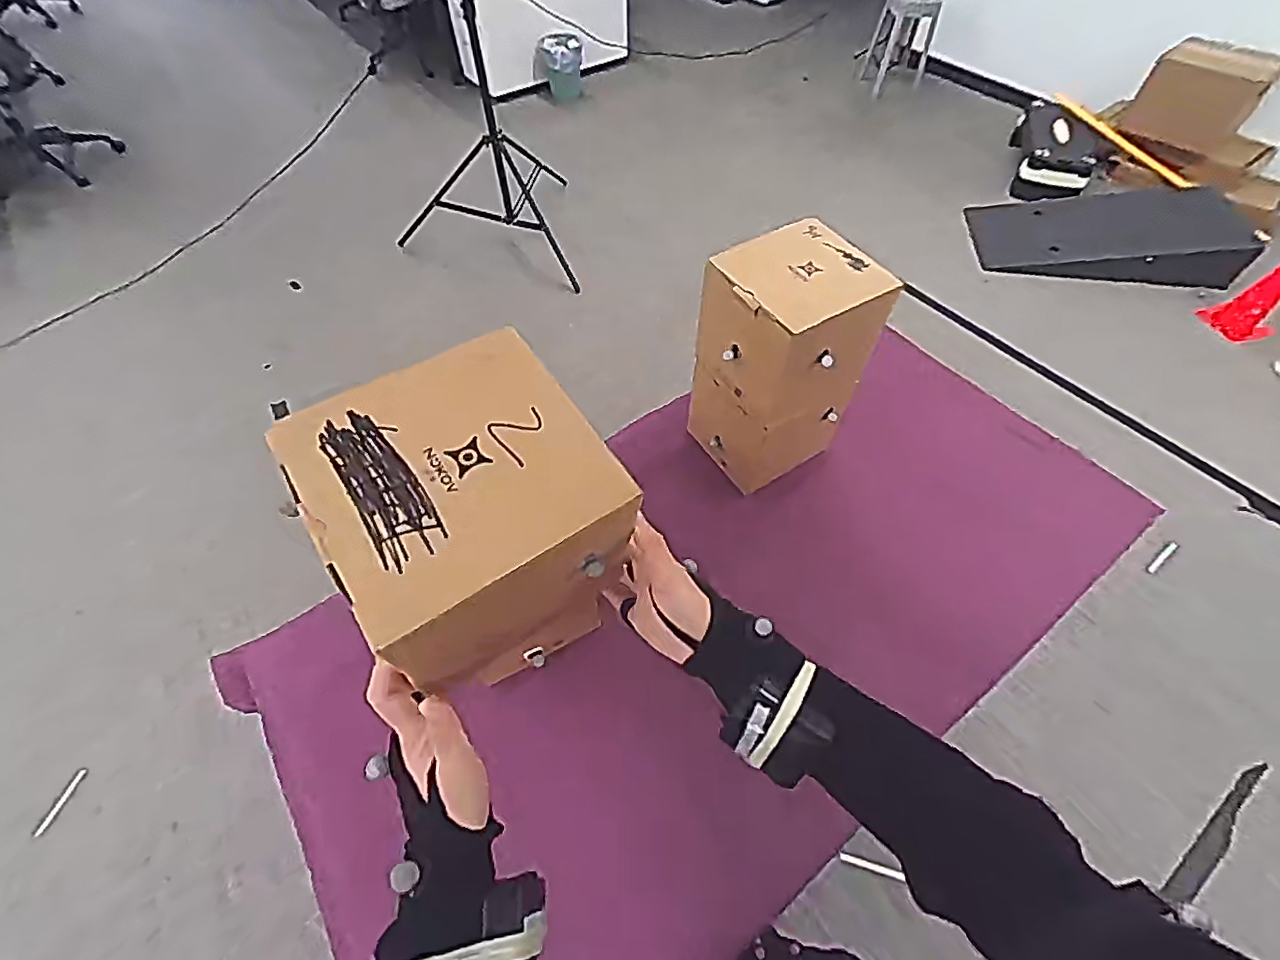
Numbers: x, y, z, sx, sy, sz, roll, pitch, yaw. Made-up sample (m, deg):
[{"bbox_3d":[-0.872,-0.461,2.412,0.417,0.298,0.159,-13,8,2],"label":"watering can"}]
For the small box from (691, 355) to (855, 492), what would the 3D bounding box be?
[{"bbox_3d":[0.197,-0.114,0.857,0.179,0.176,0.168,-29,61,-17],"label":"small box"}]

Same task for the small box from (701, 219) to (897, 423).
[{"bbox_3d":[0.194,-0.206,0.721,0.179,0.176,0.168,-28,61,-16],"label":"small box"}]

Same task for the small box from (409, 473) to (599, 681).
[{"bbox_3d":[-0.165,0.129,0.696,0.168,0.176,0.179,-27,62,-16],"label":"small box"}]
